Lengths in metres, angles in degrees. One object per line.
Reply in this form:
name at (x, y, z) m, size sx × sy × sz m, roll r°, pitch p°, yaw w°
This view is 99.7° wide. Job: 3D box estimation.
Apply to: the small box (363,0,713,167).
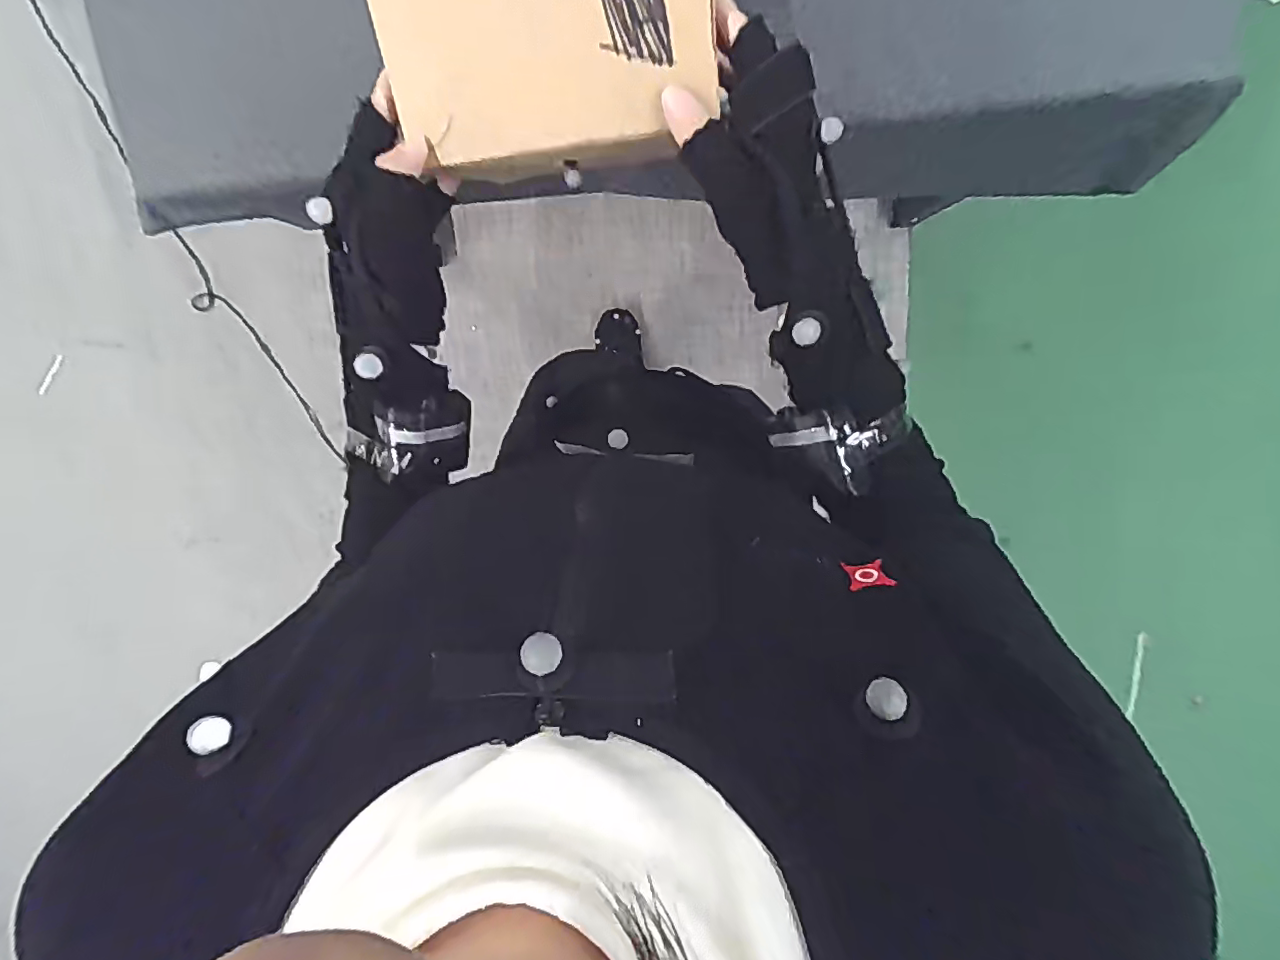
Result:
small box at (-0.051, -0.296, 0.330) m, size 0.179 × 0.176 × 0.168 m, roll -4°, pitch 118°, yaw 8°
